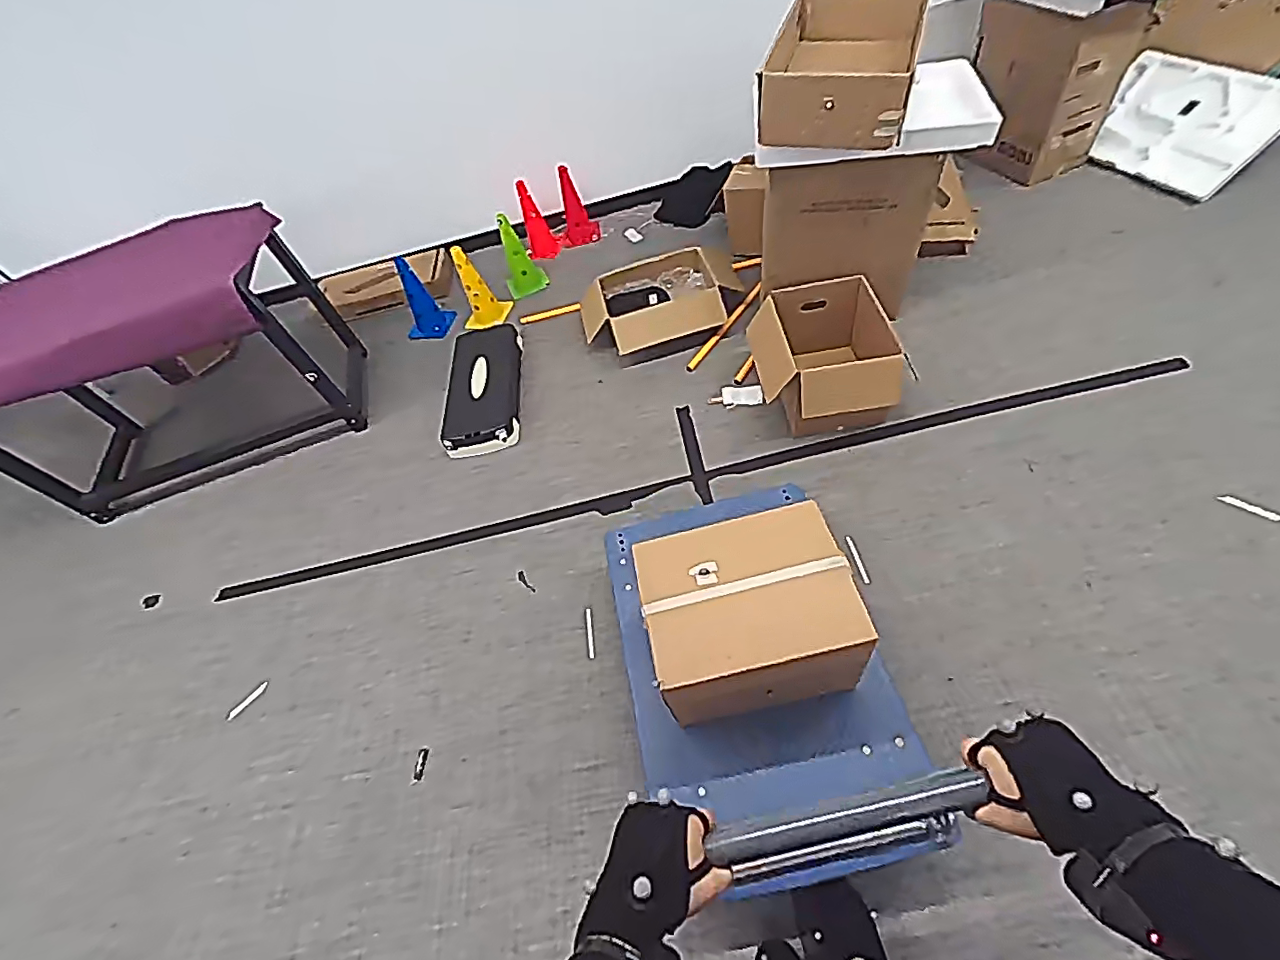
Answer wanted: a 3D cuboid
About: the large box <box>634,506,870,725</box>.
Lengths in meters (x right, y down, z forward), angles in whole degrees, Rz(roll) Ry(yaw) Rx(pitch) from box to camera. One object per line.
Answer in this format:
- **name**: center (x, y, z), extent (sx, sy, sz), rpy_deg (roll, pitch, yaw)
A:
- **large box**: center (0.233, 0.310, 1.199), extent (0.408, 0.320, 0.320), rpy_deg (-15, 52, 3)
